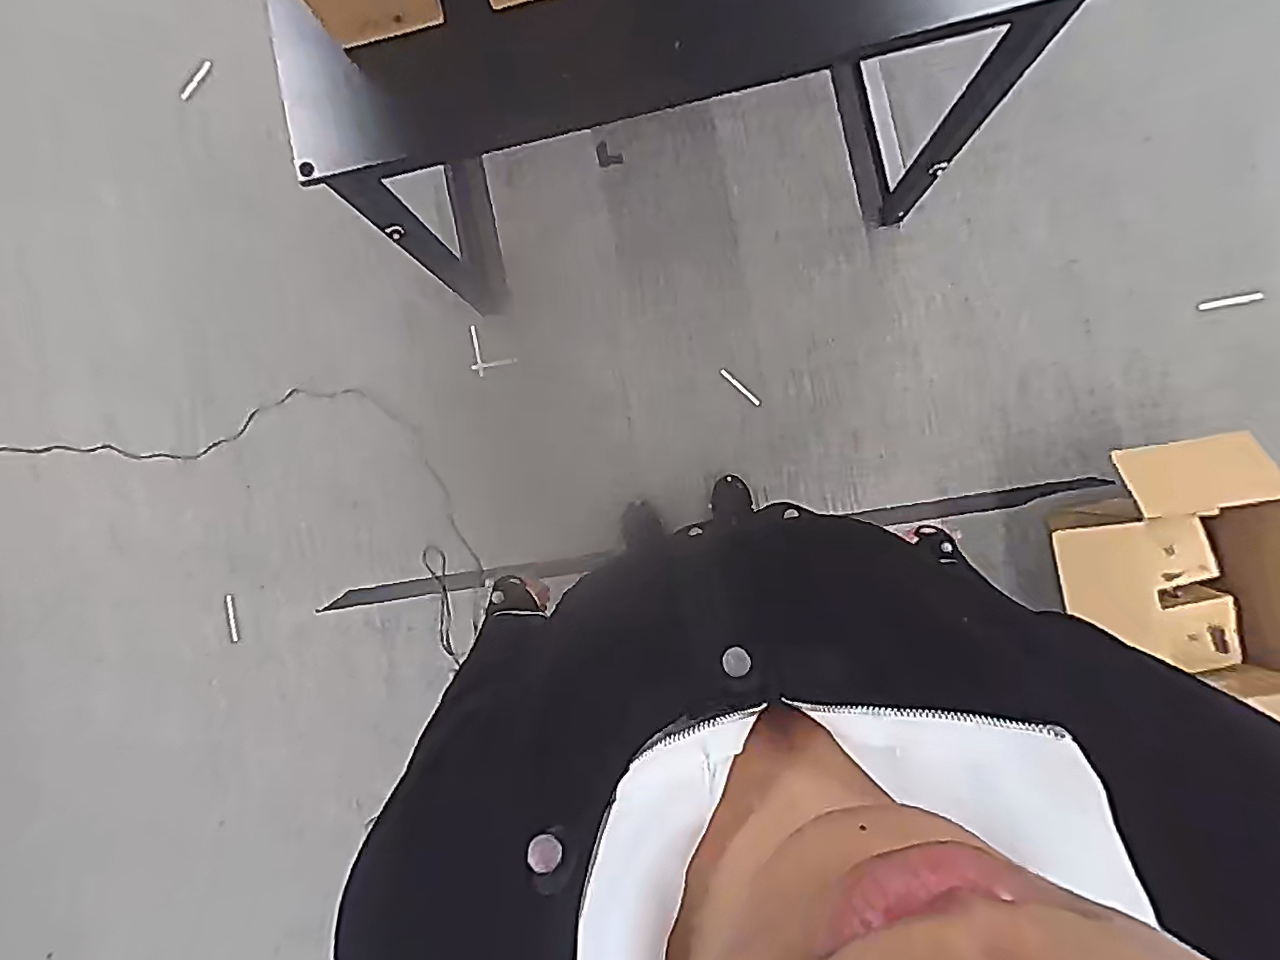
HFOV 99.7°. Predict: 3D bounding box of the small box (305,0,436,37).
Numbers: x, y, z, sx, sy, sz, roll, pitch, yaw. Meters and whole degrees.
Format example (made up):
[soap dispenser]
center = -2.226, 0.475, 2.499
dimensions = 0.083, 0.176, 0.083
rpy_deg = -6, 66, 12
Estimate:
[small box]
center = -0.398, -0.752, 0.734
dimensions = 0.168, 0.176, 0.179
rpy_deg = -12, 88, 3
